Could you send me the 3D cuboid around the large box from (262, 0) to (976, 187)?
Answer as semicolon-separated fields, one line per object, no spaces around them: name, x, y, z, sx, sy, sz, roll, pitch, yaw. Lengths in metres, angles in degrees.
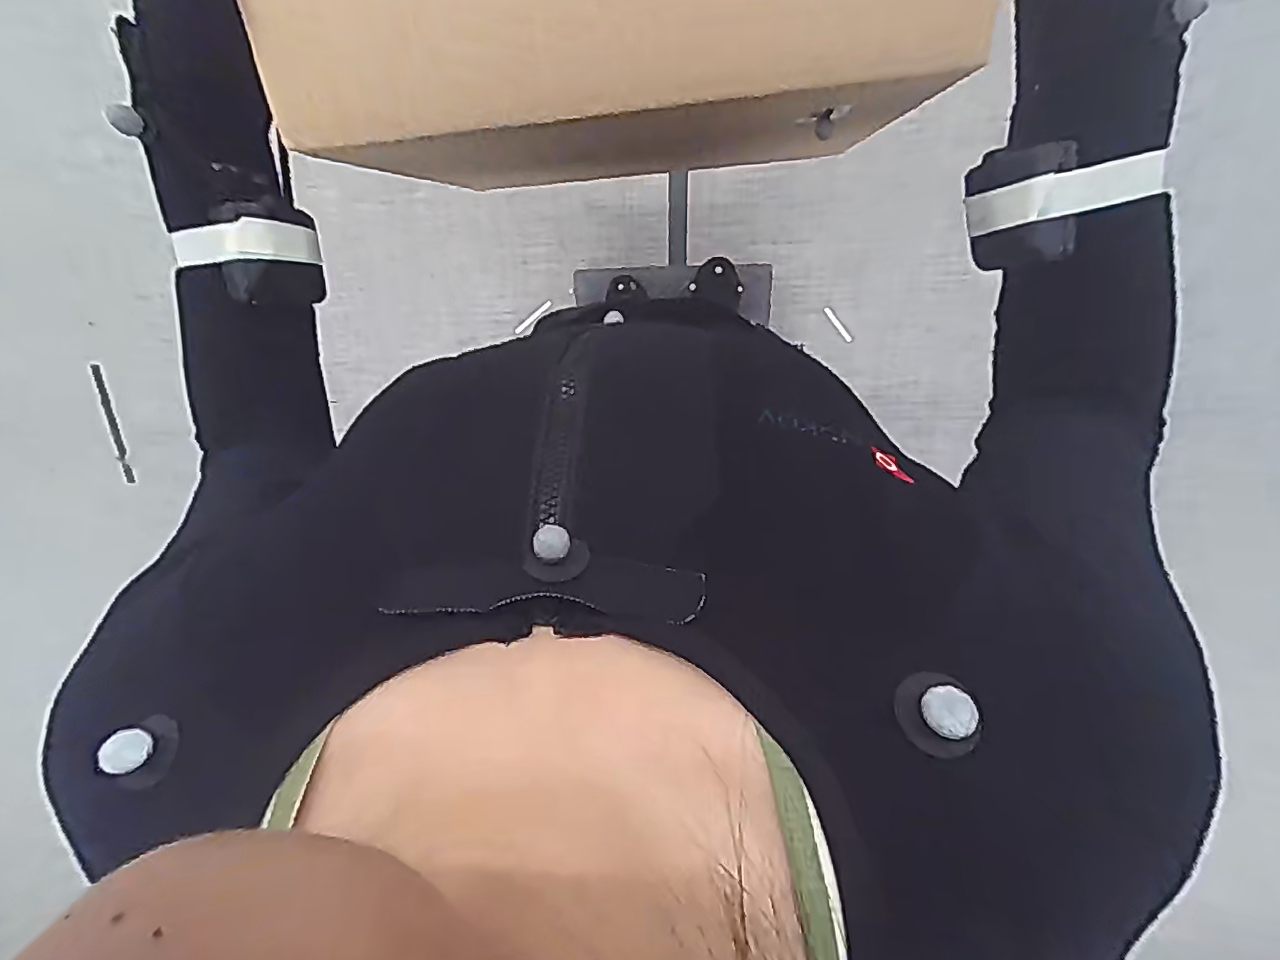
large box;-0.014;-0.417;0.395;0.408;0.320;0.320;-2;113;7
